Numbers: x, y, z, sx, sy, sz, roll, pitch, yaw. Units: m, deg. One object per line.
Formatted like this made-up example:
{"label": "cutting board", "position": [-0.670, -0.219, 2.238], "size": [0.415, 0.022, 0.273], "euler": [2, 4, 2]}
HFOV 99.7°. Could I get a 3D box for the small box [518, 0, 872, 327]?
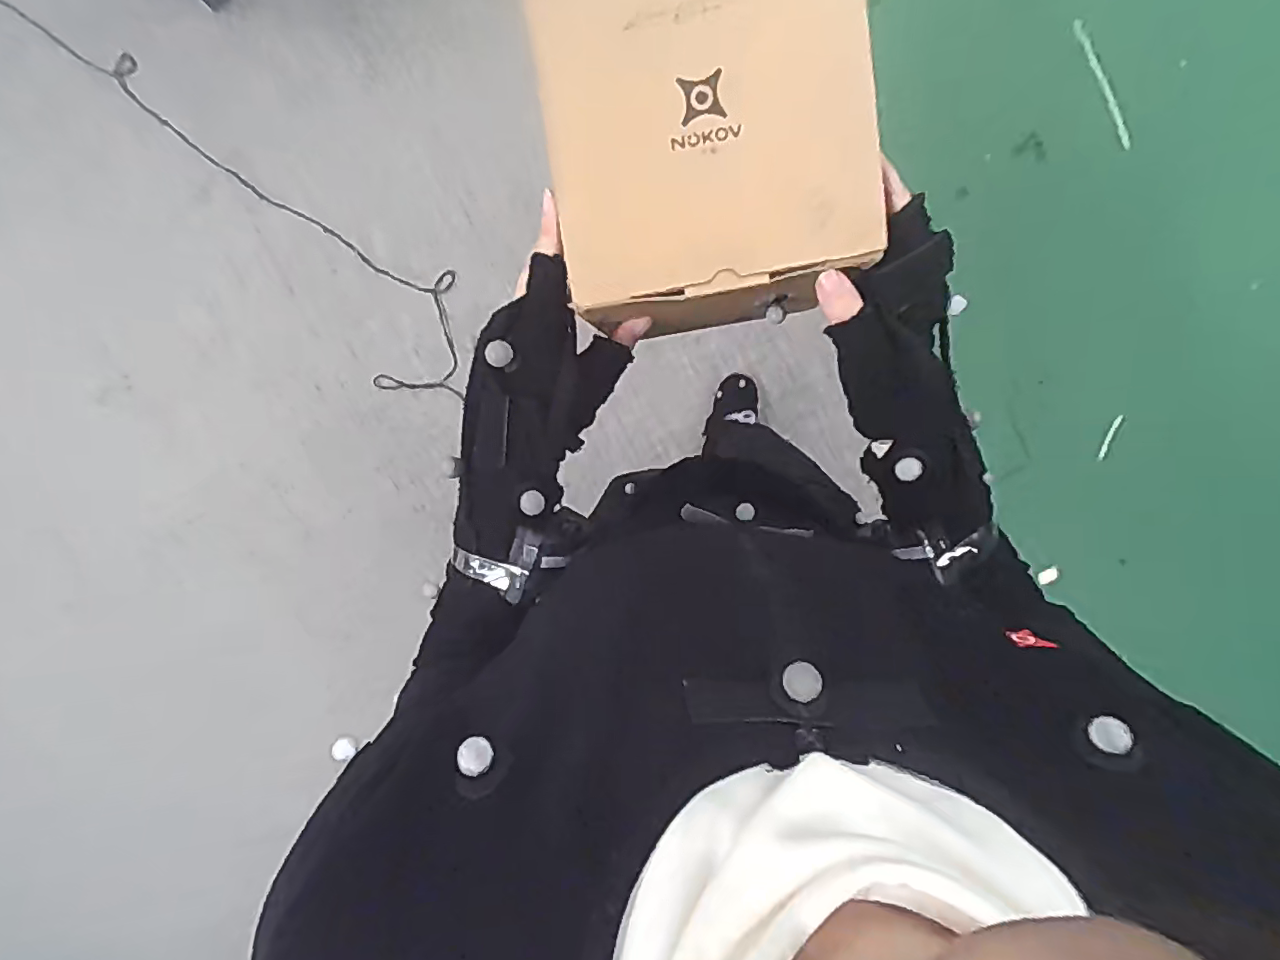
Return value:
{"label": "small box", "position": [0.034, -0.203, 0.350], "size": [0.168, 0.176, 0.179], "euler": [-8, 96, 6]}
